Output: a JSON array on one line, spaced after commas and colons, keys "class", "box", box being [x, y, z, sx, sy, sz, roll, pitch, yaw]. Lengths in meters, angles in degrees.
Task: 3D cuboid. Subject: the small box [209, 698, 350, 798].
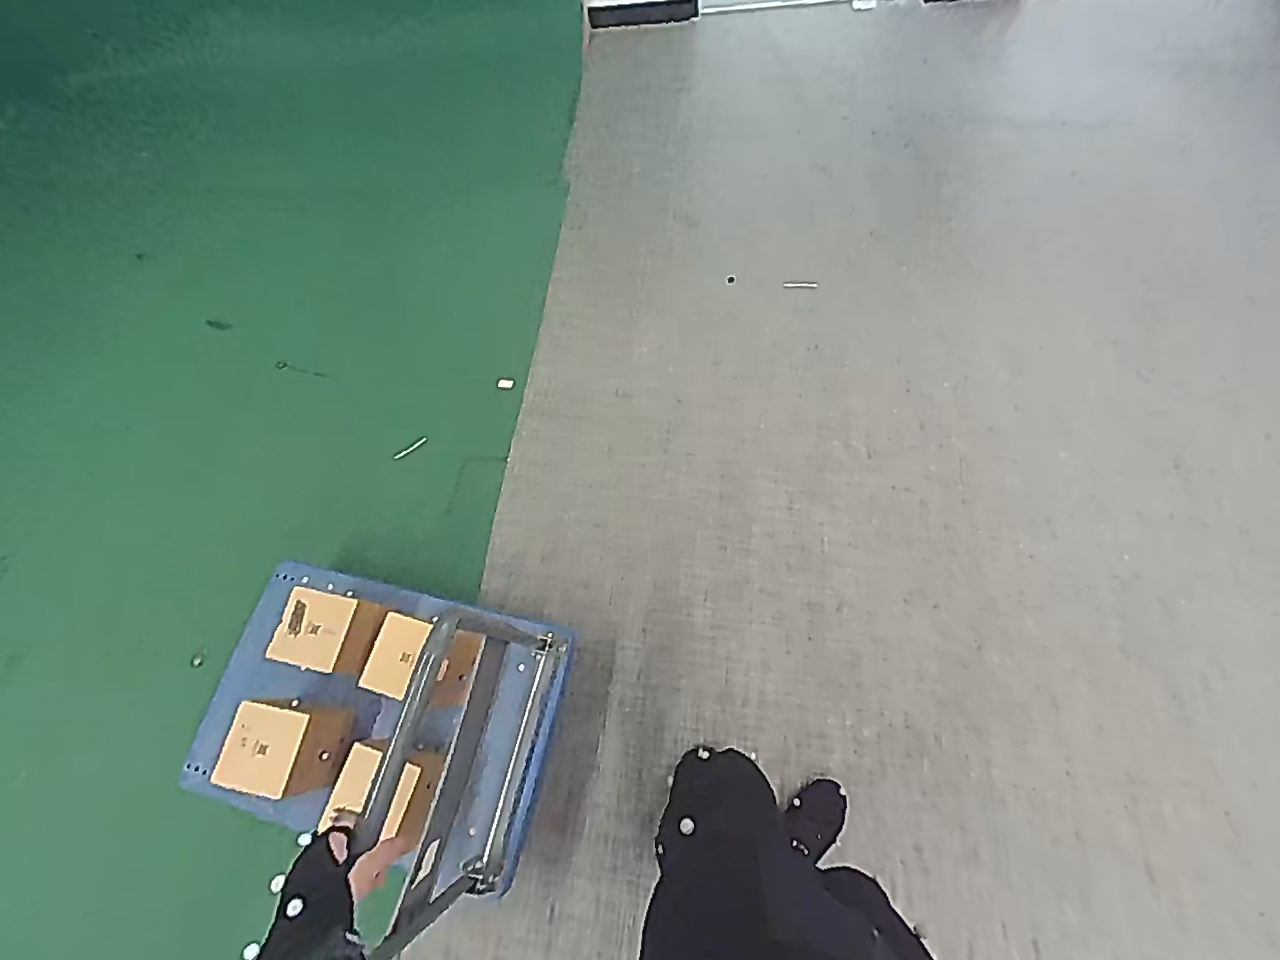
[{"class": "small box", "box": [-0.797, 0.592, 1.218, 0.179, 0.176, 0.168, 7, 70, 10]}]

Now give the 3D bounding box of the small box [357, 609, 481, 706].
[{"class": "small box", "box": [-0.499, 0.412, 1.249, 0.179, 0.176, 0.168, 13, 71, 11]}]

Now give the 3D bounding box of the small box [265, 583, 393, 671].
[{"class": "small box", "box": [-0.736, 0.358, 1.299, 0.179, 0.176, 0.168, 9, 72, 10]}]
